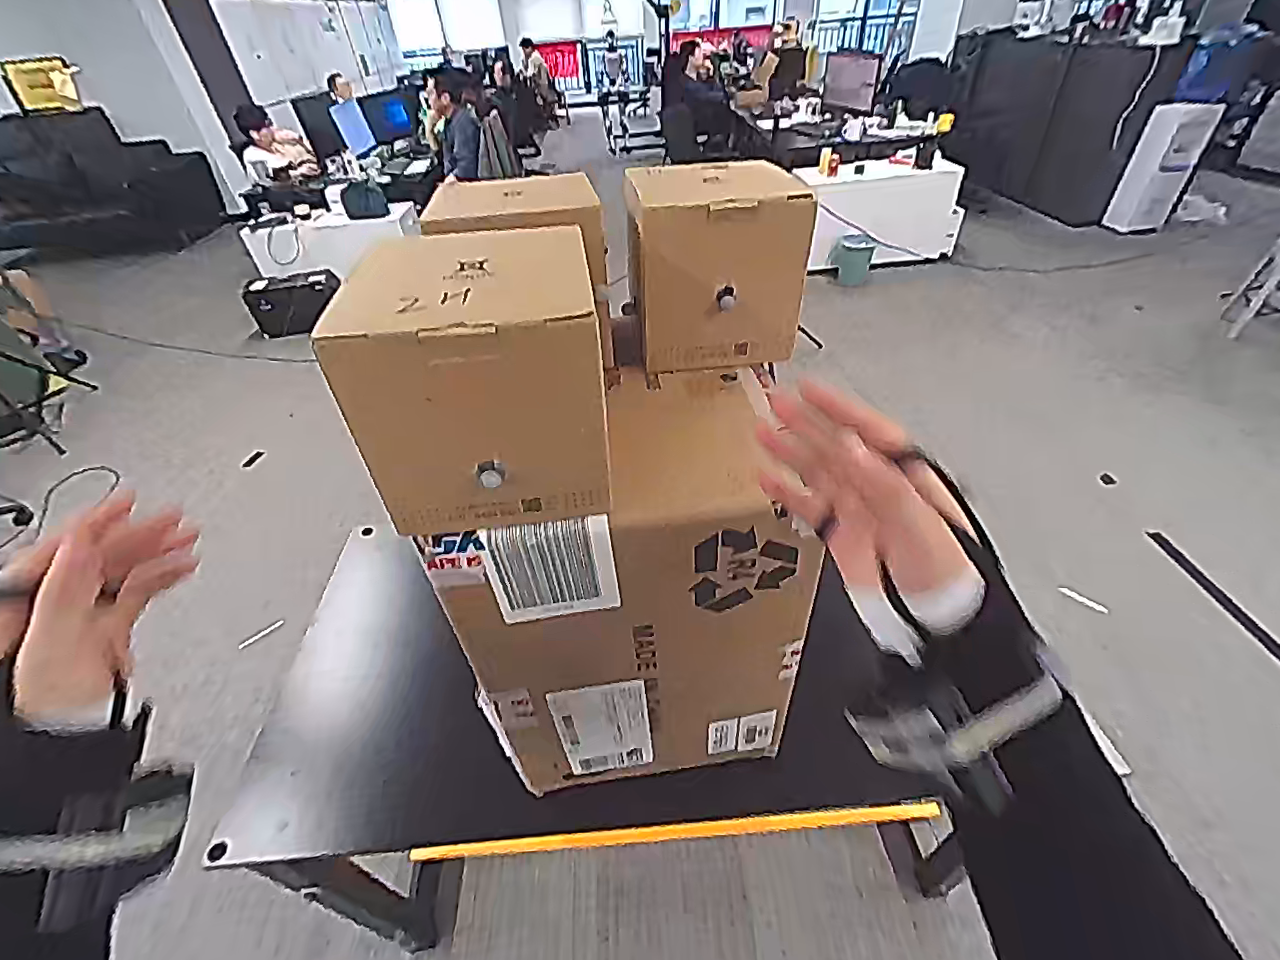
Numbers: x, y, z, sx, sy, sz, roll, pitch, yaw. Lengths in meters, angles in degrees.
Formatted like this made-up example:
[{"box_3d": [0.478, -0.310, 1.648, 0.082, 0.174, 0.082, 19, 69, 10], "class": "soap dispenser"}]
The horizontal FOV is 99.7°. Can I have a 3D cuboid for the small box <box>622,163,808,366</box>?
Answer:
[{"box_3d": [0.071, -0.238, 0.608, 0.168, 0.176, 0.179, -5, 41, -4], "class": "small box"}]

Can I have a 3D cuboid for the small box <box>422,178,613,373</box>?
[{"box_3d": [-0.127, -0.225, 0.608, 0.168, 0.176, 0.179, -10, 40, -6], "class": "small box"}]

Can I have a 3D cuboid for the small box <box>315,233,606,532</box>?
[{"box_3d": [-0.119, -0.082, 0.436, 0.168, 0.176, 0.179, -7, 42, -5], "class": "small box"}]
